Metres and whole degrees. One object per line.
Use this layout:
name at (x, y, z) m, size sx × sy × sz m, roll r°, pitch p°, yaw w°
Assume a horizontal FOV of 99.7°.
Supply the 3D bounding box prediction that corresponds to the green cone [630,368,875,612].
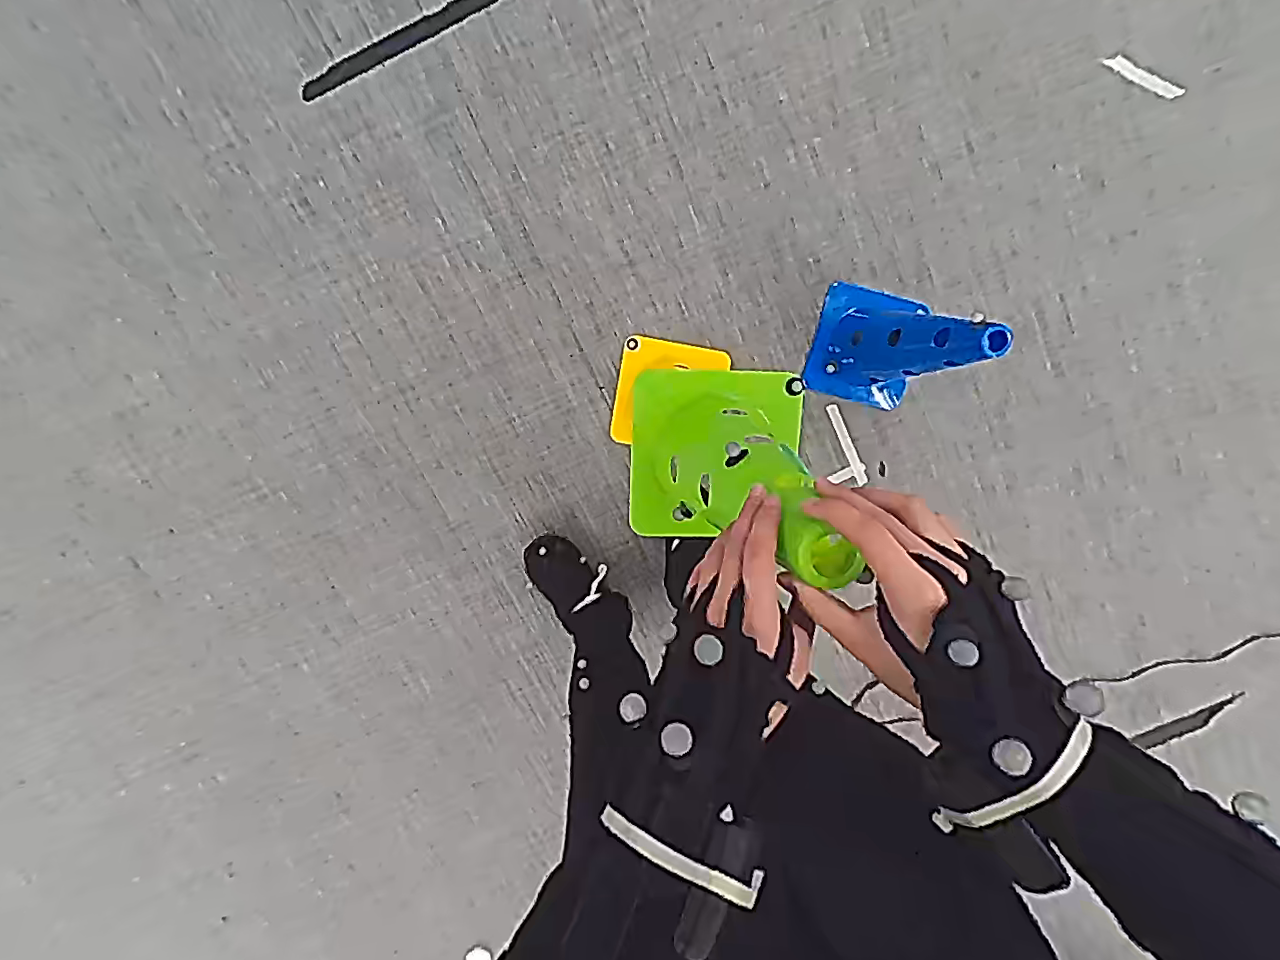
green cone at (0.097, 0.010, 0.469) m, size 0.200 × 0.368 × 0.202 m, roll 1°, pitch 103°, yaw -3°
